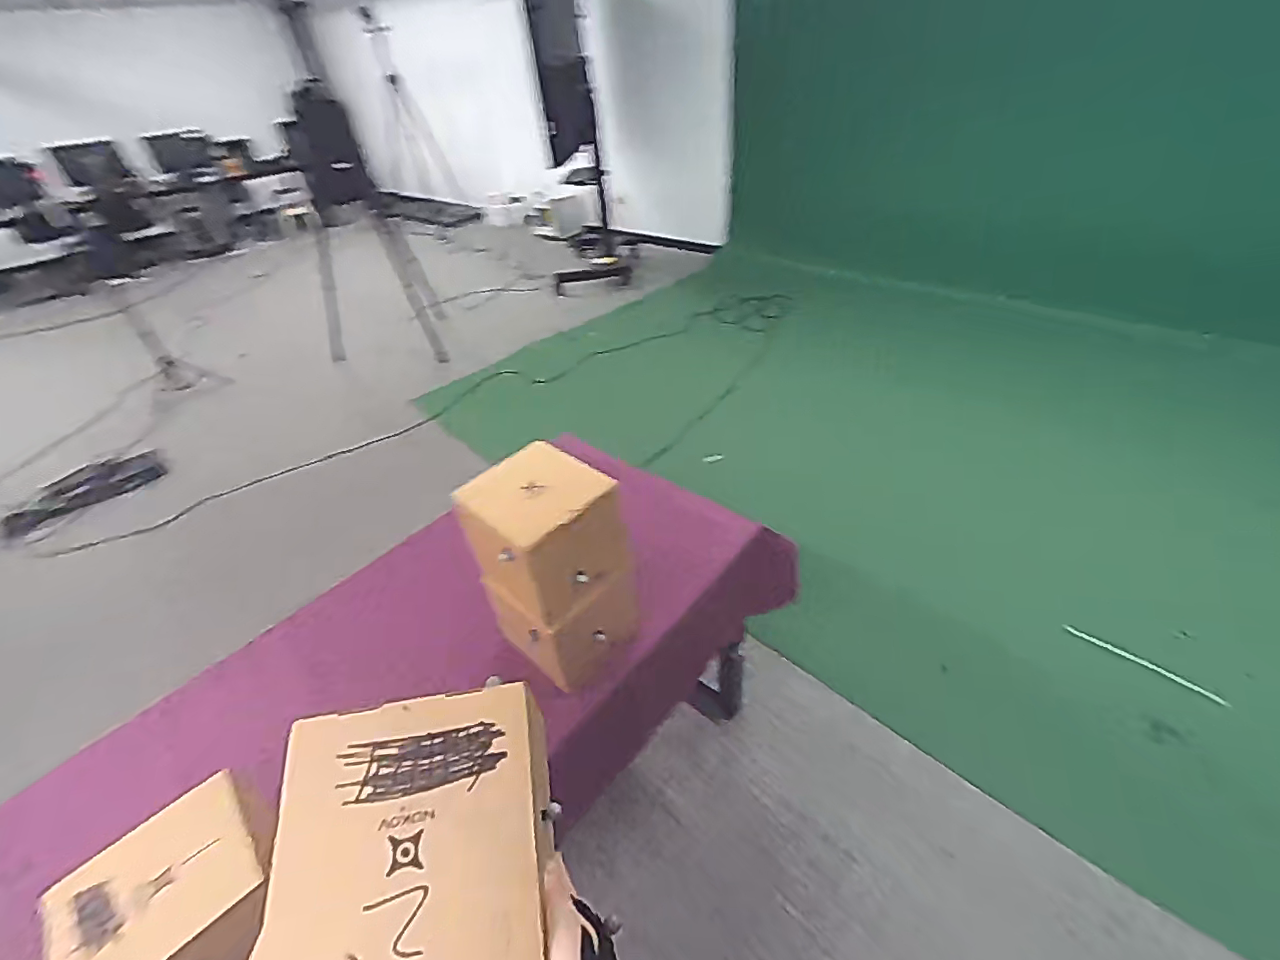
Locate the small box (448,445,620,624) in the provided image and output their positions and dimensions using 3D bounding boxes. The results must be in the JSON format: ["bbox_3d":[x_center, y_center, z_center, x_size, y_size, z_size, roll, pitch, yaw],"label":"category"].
[{"bbox_3d":[-0.150,0.080,0.805,0.179,0.176,0.168,27,49,33],"label":"small box"}]

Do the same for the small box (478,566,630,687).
[{"bbox_3d":[-0.133,0.212,0.900,0.179,0.176,0.168,26,48,34],"label":"small box"}]

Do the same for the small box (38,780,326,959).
[{"bbox_3d":[-0.496,0.493,0.603,0.168,0.176,0.179,28,49,35],"label":"small box"}]
